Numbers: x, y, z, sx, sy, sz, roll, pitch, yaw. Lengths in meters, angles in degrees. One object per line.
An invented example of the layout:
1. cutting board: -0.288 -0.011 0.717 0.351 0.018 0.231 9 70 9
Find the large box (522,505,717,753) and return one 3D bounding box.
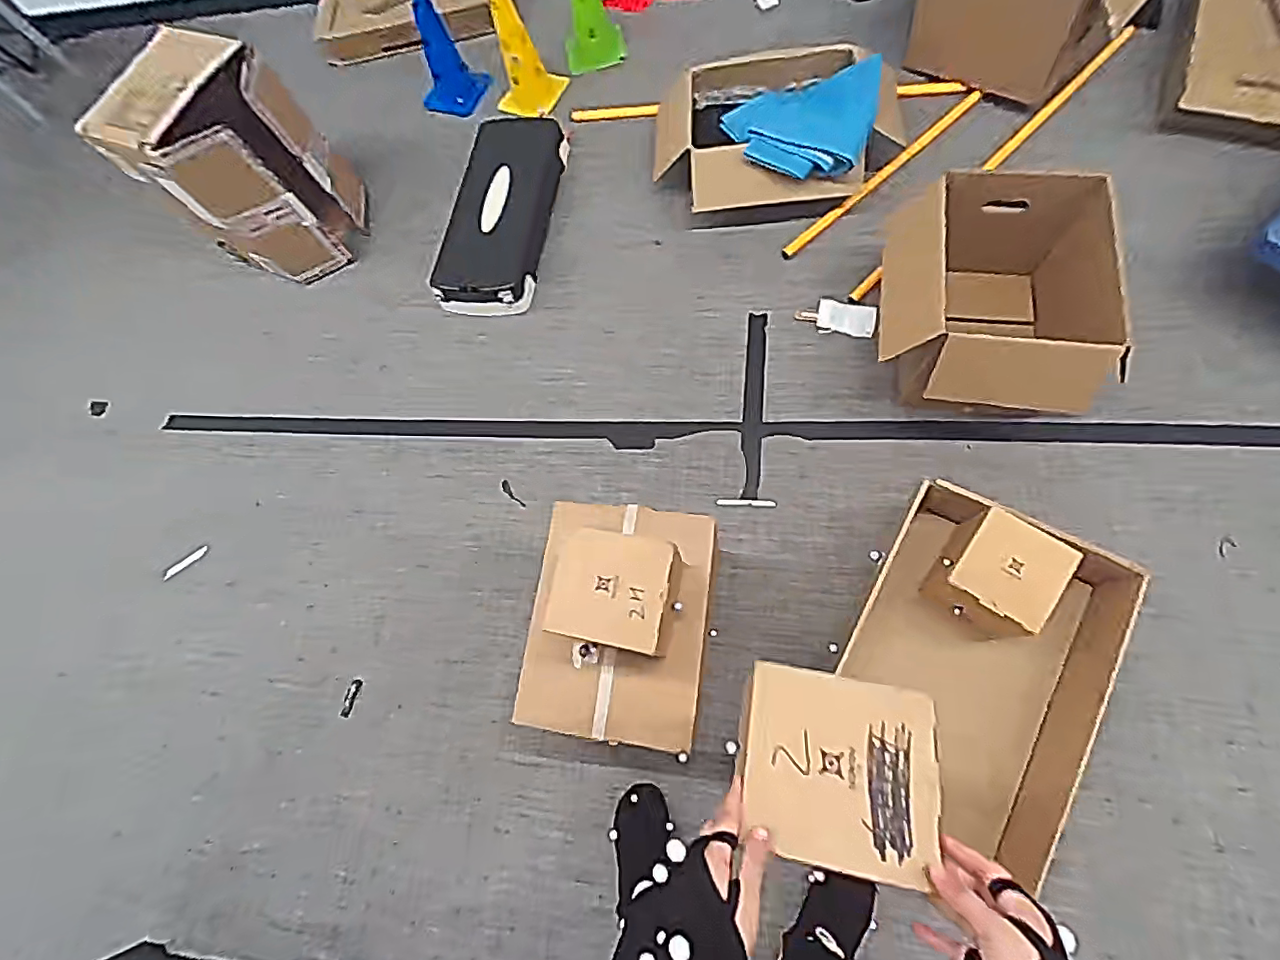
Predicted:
1. large box: -0.010 0.287 1.096 0.320 0.320 0.408 4 73 12

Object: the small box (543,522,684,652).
1. small box: -0.032 0.178 0.873 0.179 0.176 0.168 9 74 11
